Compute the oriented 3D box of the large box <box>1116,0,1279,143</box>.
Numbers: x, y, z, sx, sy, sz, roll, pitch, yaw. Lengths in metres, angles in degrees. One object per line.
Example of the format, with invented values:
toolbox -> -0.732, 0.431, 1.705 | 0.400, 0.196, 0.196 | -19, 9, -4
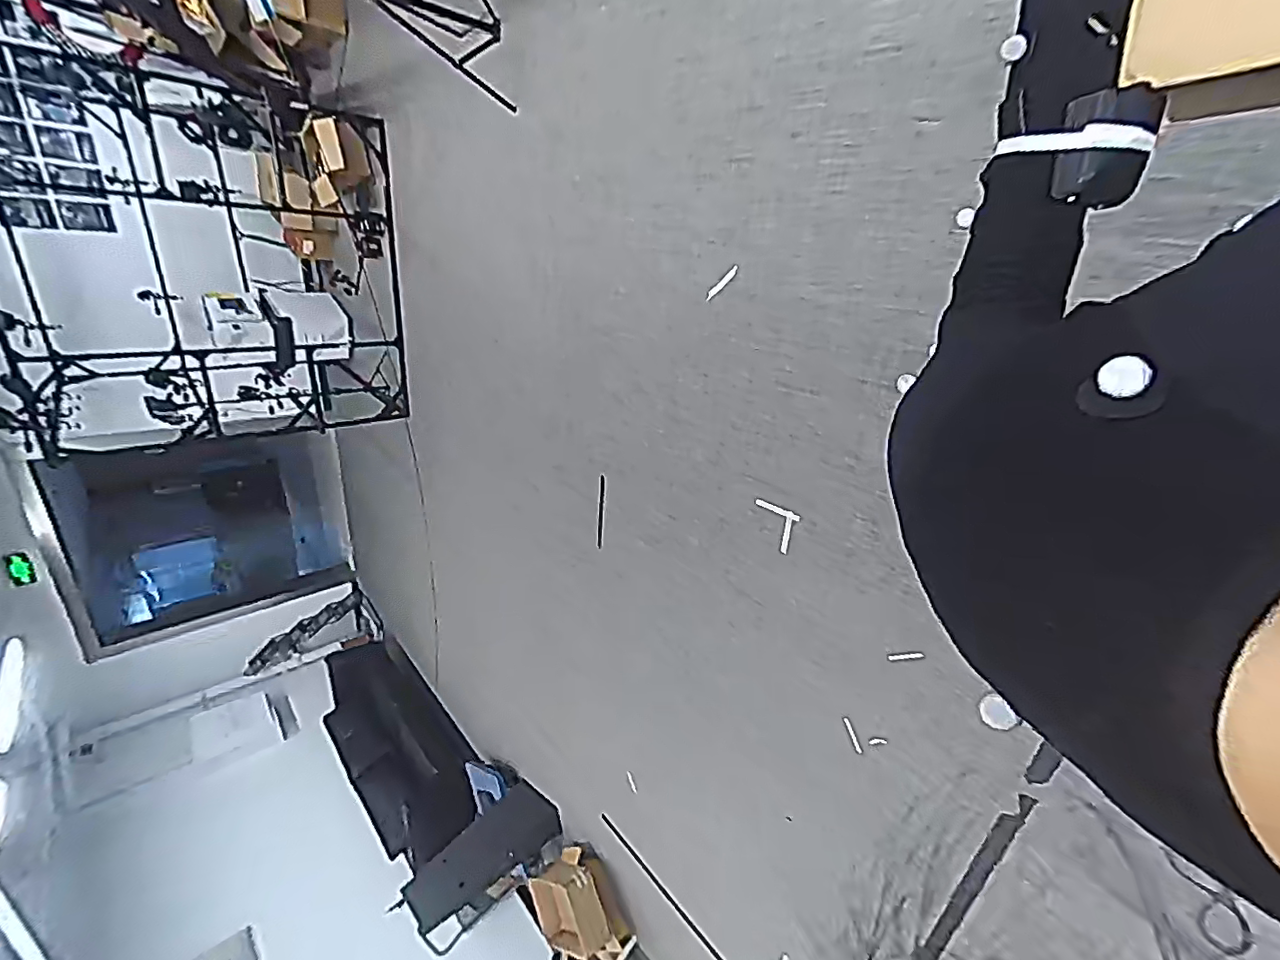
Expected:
large box -> 0.551, -0.401, 0.276 | 0.408, 0.320, 0.320 | 16, 122, 43
